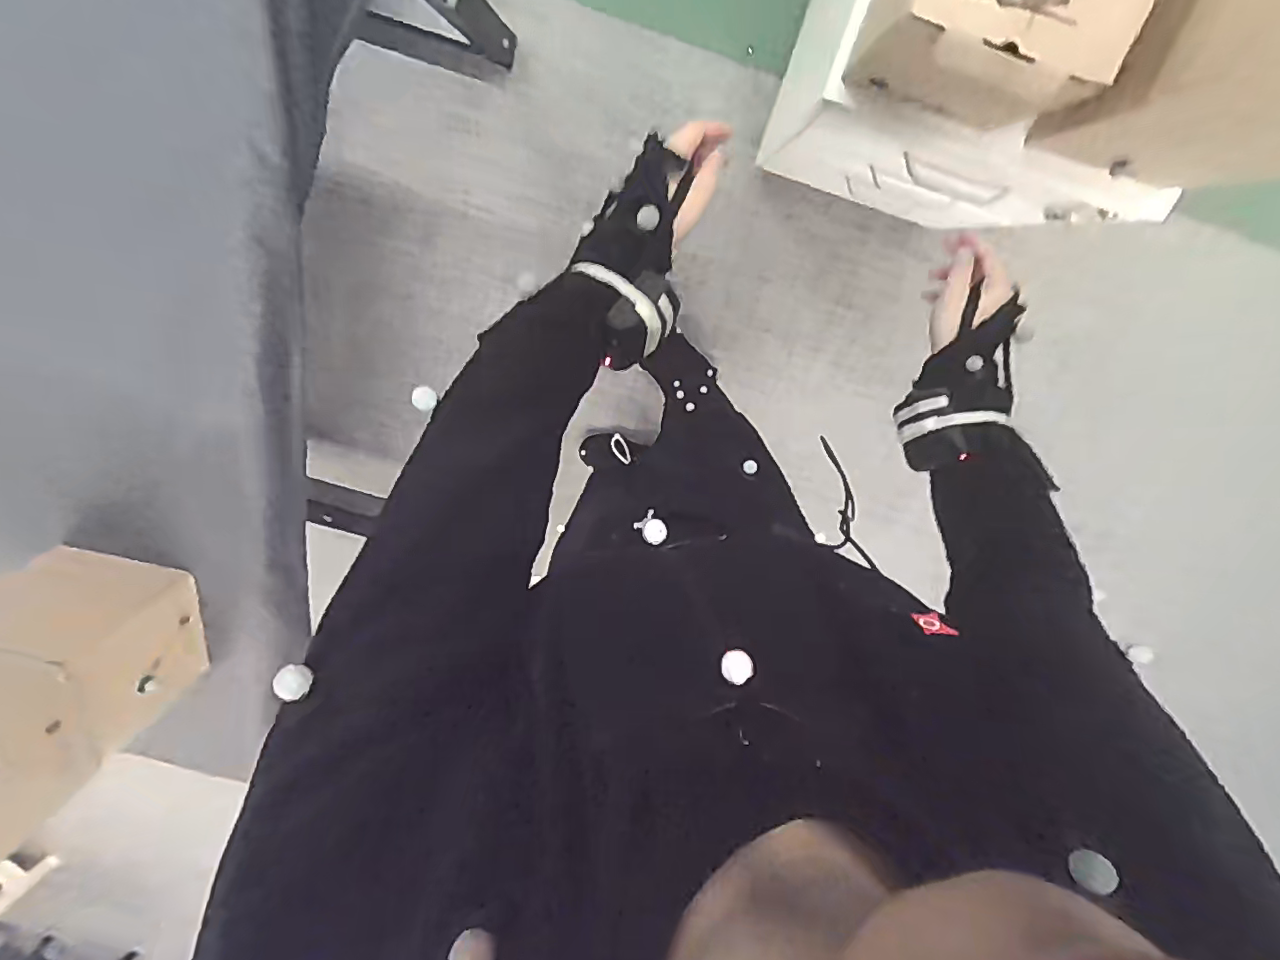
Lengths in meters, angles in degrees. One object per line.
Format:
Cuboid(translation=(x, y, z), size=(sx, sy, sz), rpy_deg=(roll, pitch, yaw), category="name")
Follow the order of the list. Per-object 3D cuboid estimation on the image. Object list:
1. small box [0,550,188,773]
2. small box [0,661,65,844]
Cuboid(translation=(-0.680, 0.203, 0.637), size=(0.179, 0.176, 0.168), rpy_deg=(12, 114, -2), category="small box")
Cuboid(translation=(-0.687, 0.270, 0.489), size=(0.179, 0.176, 0.168), rpy_deg=(12, 113, 0), category="small box")
